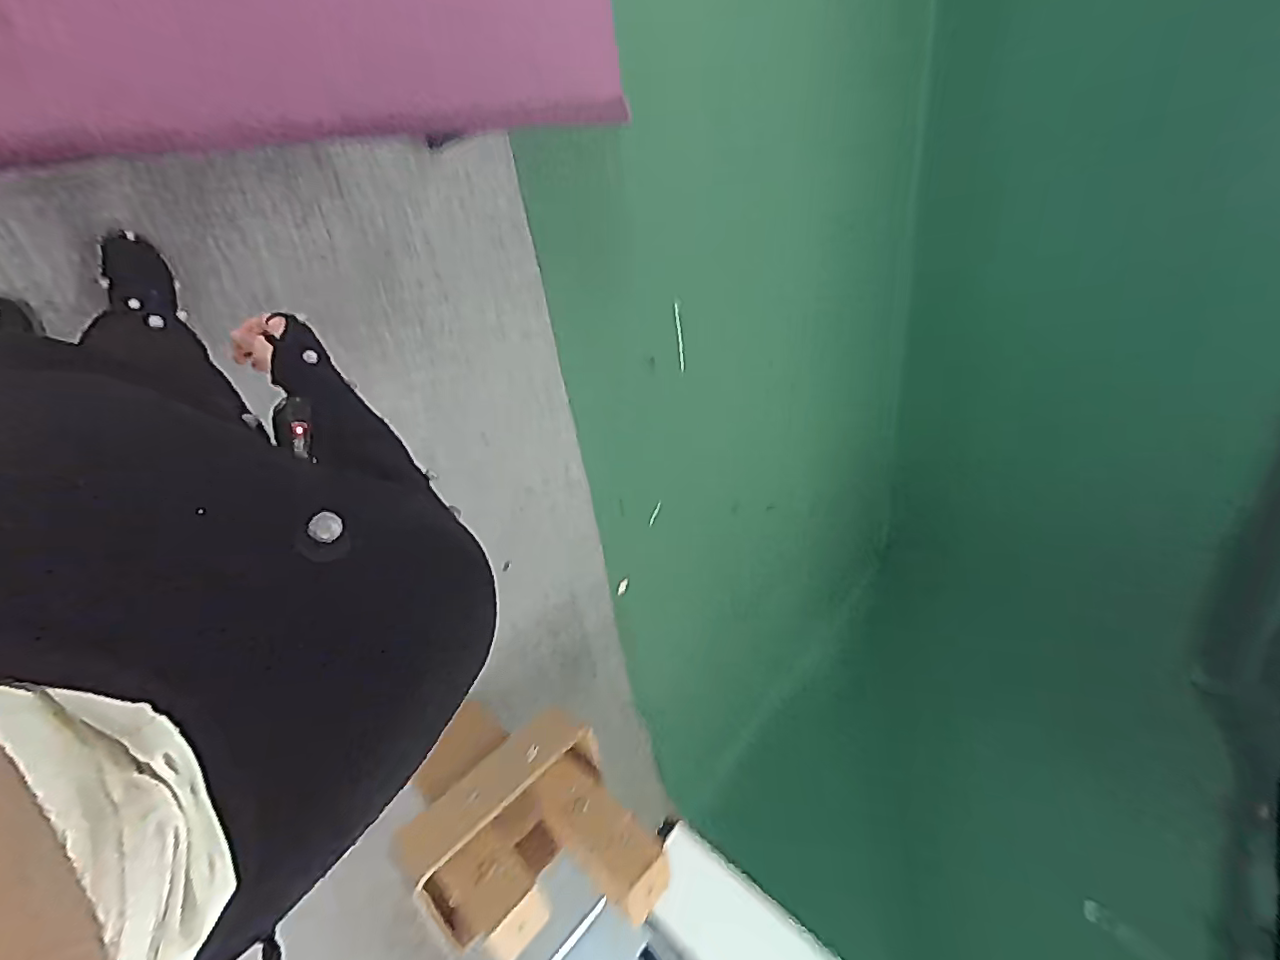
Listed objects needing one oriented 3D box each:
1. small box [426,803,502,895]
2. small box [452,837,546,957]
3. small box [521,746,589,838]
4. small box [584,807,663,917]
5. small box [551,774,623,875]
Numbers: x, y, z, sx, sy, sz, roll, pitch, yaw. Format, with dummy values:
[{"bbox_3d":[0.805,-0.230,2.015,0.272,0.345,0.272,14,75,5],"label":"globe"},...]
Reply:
[{"bbox_3d":[-0.508,1.107,1.606,0.168,0.176,0.179,-32,127,-35],"label":"small box"},{"bbox_3d":[-0.391,1.146,1.498,0.168,0.176,0.179,-33,127,-35],"label":"small box"},{"bbox_3d":[-0.279,1.050,1.835,0.168,0.176,0.179,-30,125,-37],"label":"small box"},{"bbox_3d":[-0.050,1.134,1.619,0.168,0.176,0.179,-27,122,-39],"label":"small box"},{"bbox_3d":[-0.163,1.091,1.727,0.168,0.176,0.179,-29,124,-39],"label":"small box"}]
